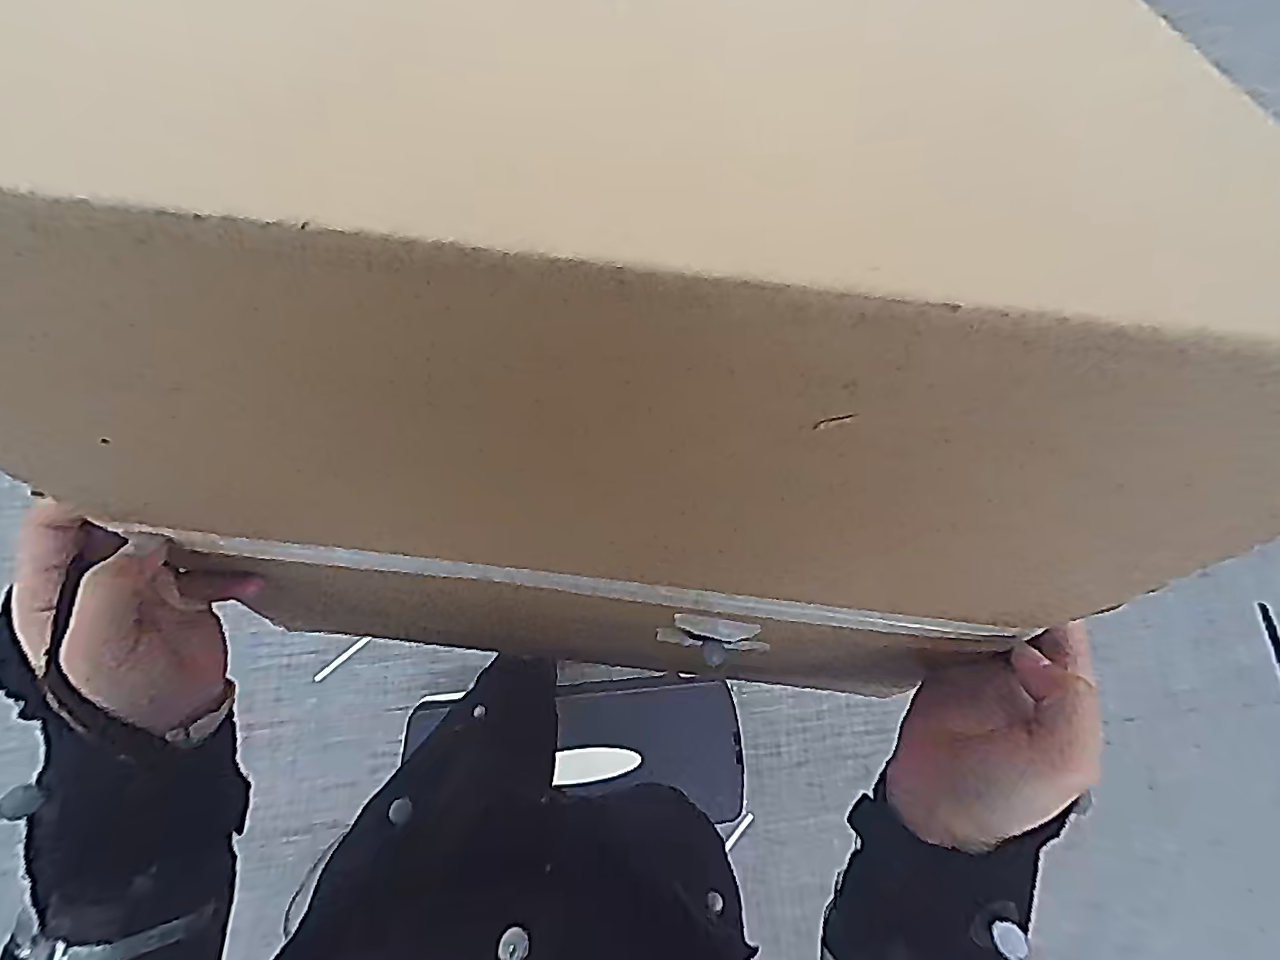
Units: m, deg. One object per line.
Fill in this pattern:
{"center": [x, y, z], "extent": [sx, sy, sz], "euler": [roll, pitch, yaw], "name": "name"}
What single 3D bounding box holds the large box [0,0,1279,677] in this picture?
{"center": [-0.018, -0.092, 0.322], "extent": [0.408, 0.320, 0.320], "euler": [6, 59, -1], "name": "large box"}
